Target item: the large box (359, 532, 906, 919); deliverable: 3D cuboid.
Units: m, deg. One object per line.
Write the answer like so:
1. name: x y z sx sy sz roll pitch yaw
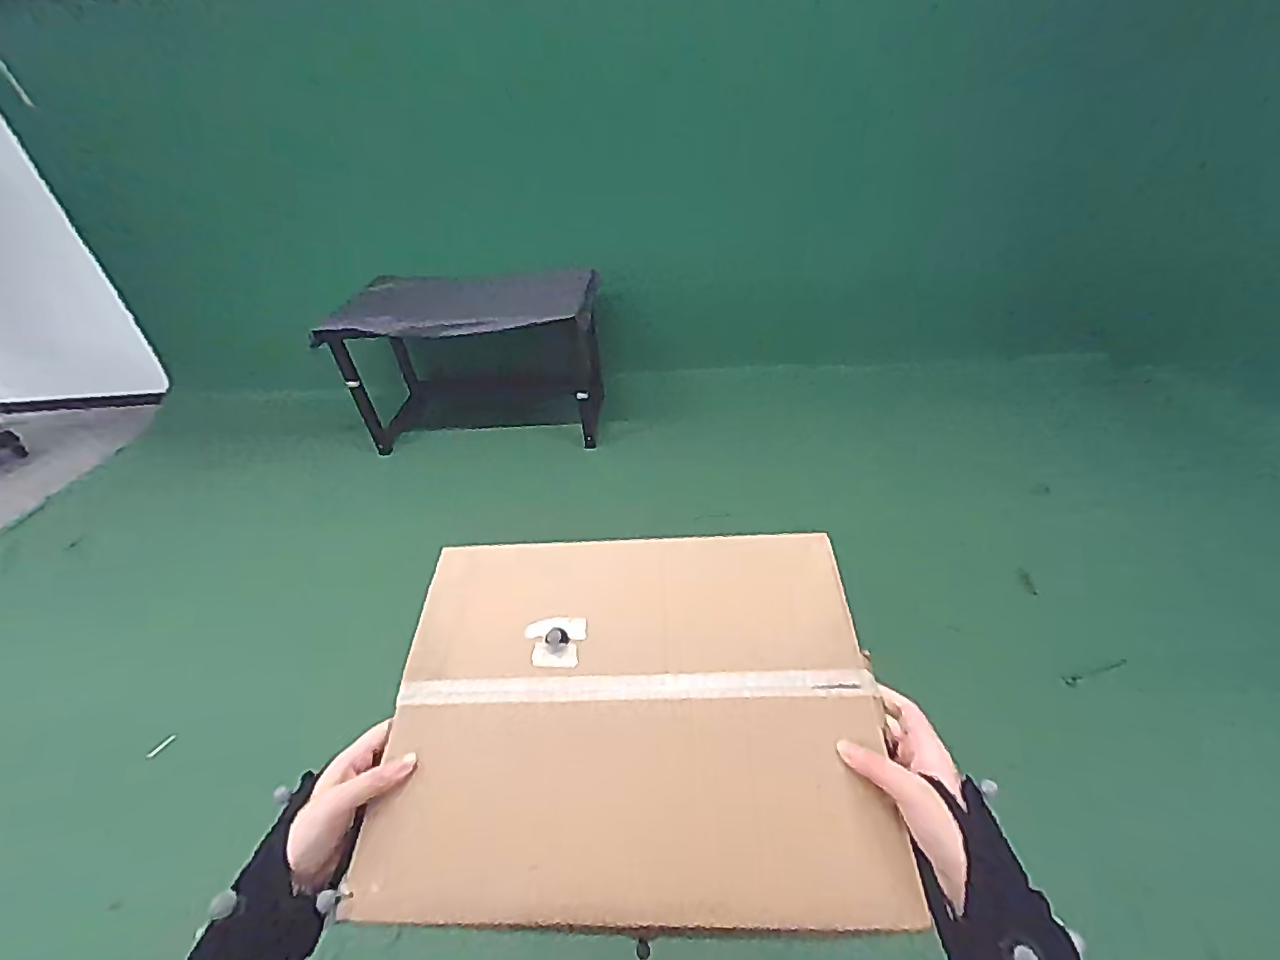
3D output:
1. large box: 0.005 0.281 0.592 0.408 0.320 0.320 -4 49 5
